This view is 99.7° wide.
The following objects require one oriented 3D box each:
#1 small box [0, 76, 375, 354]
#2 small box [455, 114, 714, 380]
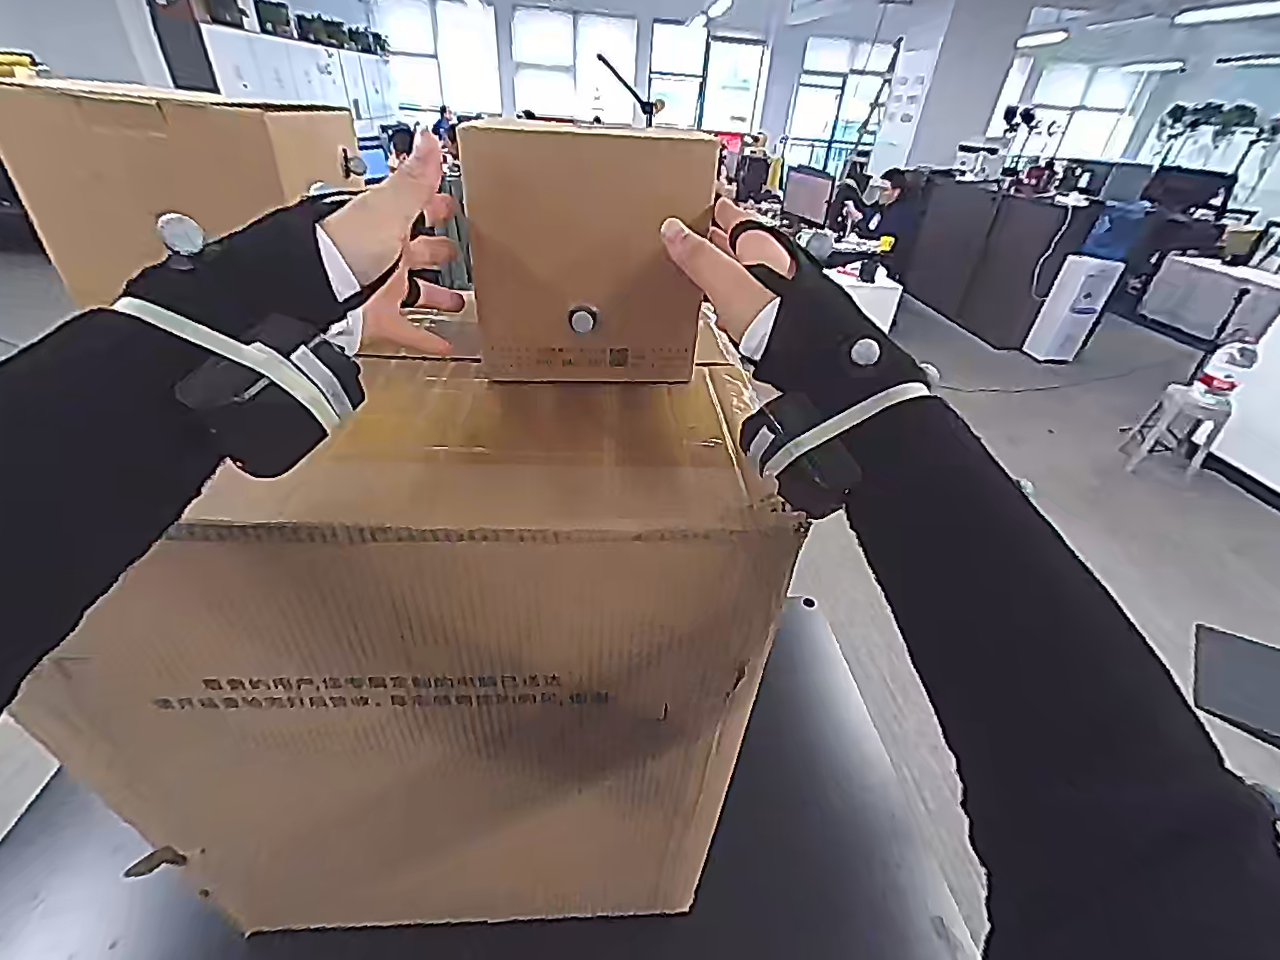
[{"bbox_3d":[-0.337,-0.216,0.448,0.168,0.176,0.179,0,34,-8],"label":"small box"},{"bbox_3d":[-0.044,-0.195,0.449,0.168,0.176,0.179,-1,34,-6],"label":"small box"}]
